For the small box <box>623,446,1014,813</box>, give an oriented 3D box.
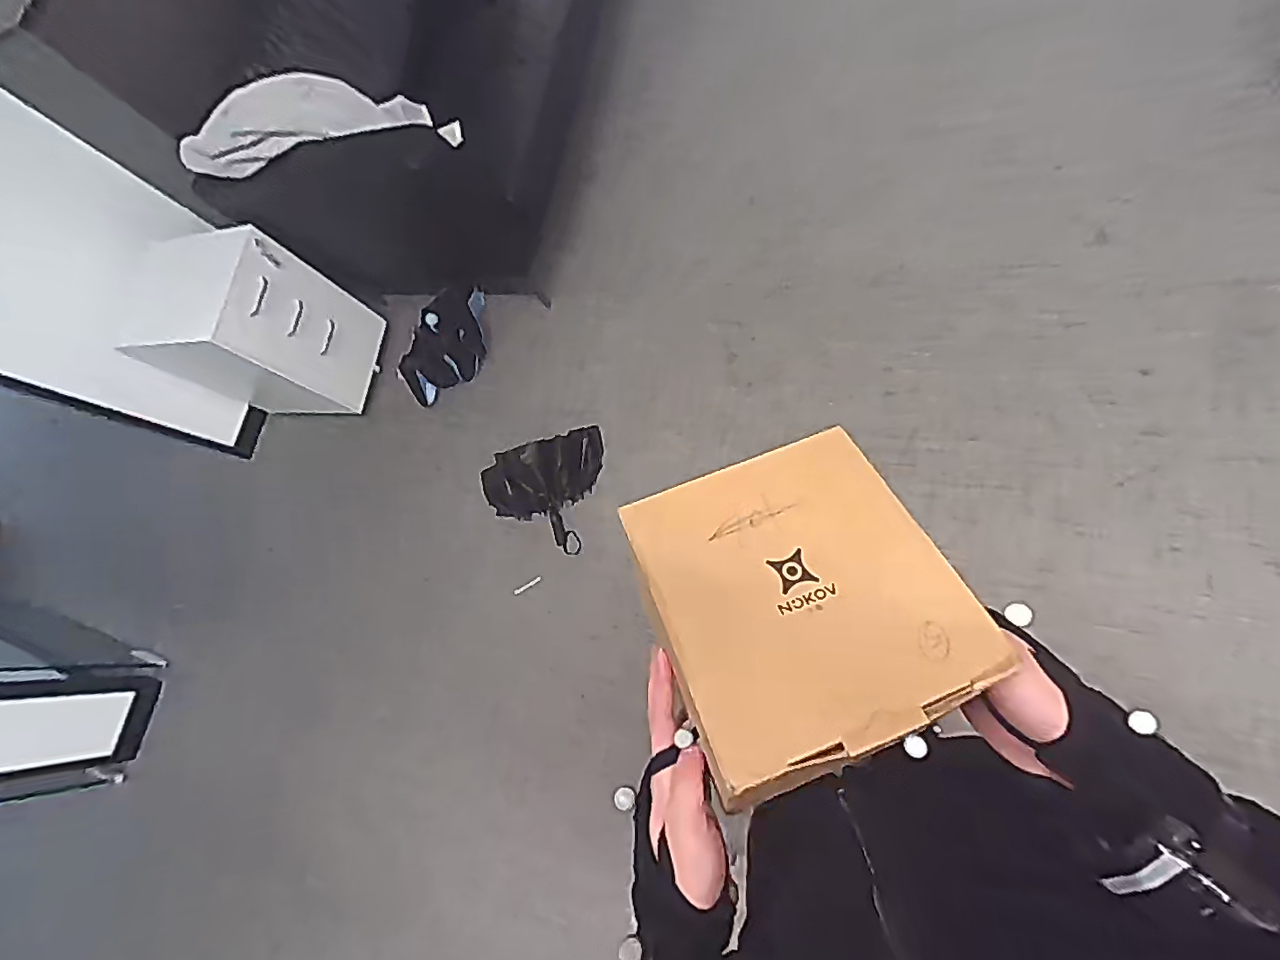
[{"bbox_3d":[0.101,0.113,0.383,0.168,0.176,0.179,-20,53,-7],"label":"small box"}]
